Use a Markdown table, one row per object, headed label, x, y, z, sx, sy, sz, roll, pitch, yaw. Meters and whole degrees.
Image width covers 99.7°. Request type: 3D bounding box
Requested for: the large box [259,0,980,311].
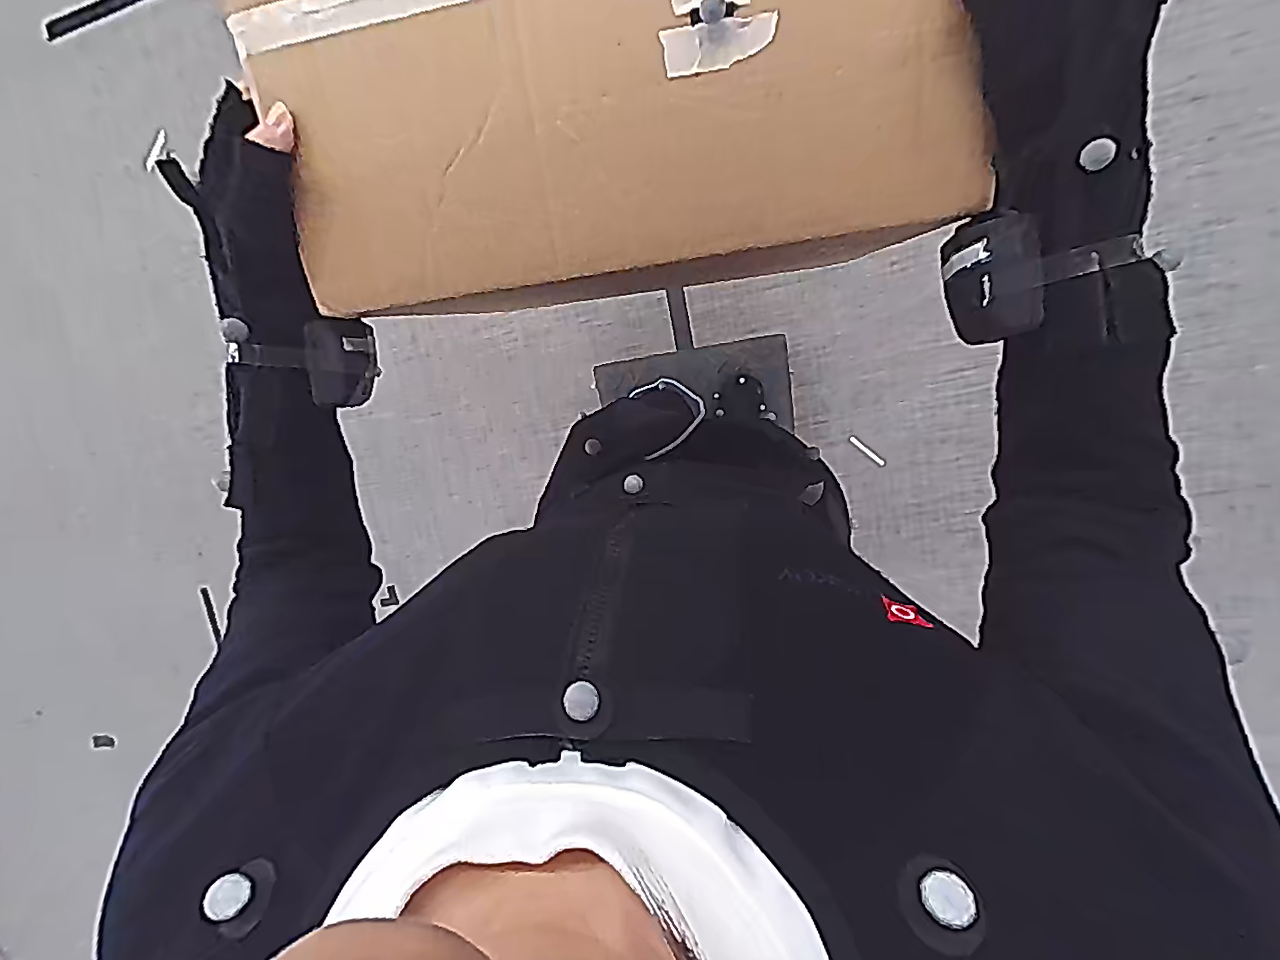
| label | x | y | z | sx | sy | sz | roll | pitch | yaw |
| --- | --- | --- | --- | --- | --- | --- | --- | --- | --- |
| large box | -0.011 | -0.326 | 0.434 | 0.408 | 0.320 | 0.320 | -6 | 107 | 9 |
